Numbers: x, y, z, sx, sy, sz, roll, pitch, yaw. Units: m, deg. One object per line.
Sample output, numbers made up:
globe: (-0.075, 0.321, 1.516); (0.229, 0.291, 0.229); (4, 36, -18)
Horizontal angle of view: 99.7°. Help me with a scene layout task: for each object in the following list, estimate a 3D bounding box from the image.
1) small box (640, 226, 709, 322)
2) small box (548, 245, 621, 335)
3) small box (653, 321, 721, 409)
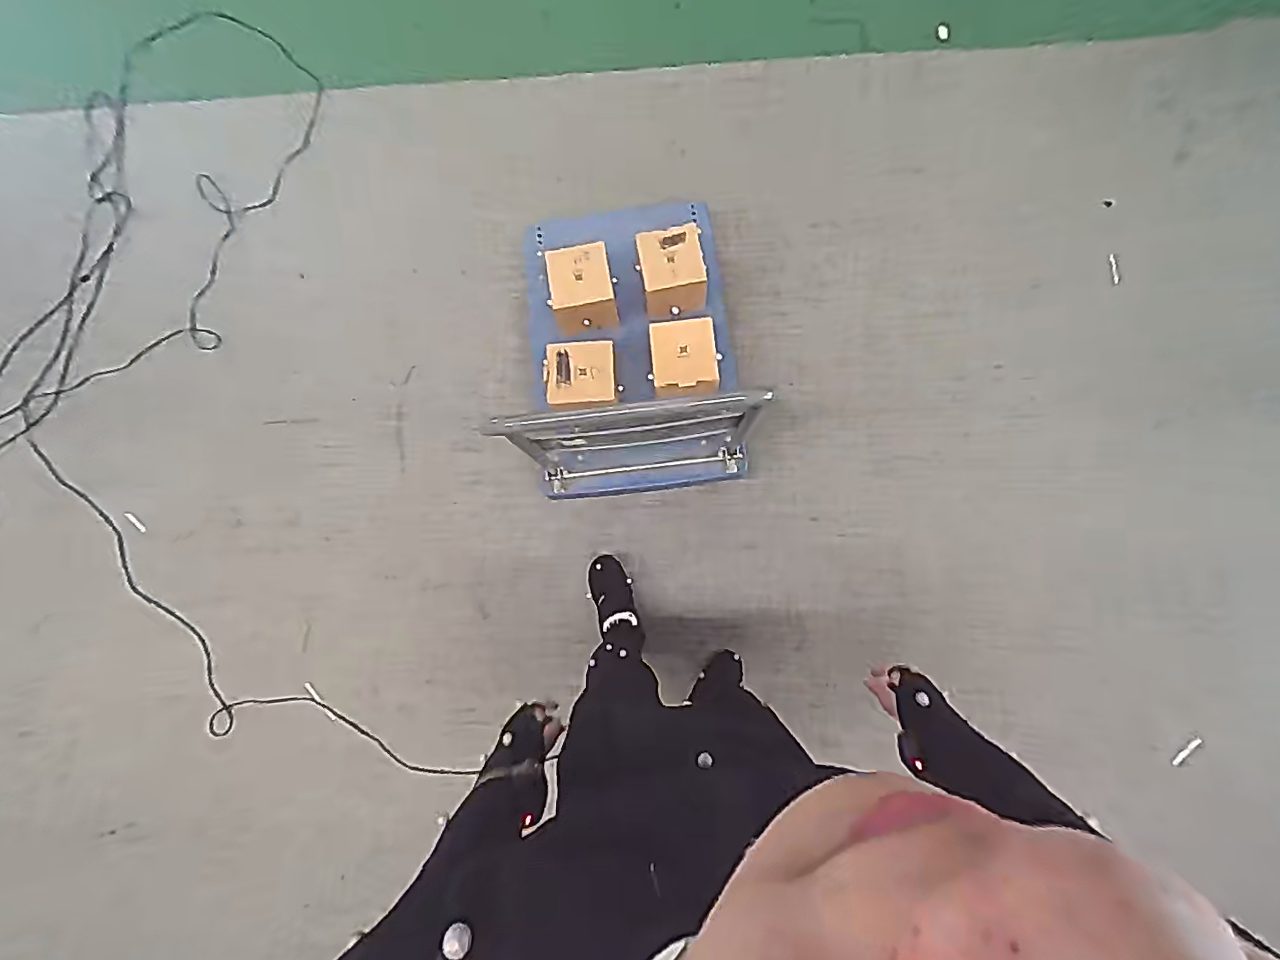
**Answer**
small box: (0.095, -0.571, 1.515); (0.168, 0.176, 0.179); (-10, 79, 3)
small box: (-0.152, -0.525, 1.524); (0.168, 0.176, 0.179); (-10, 78, 1)
small box: (0.123, -0.307, 1.462); (0.168, 0.176, 0.179); (-5, 79, 3)
